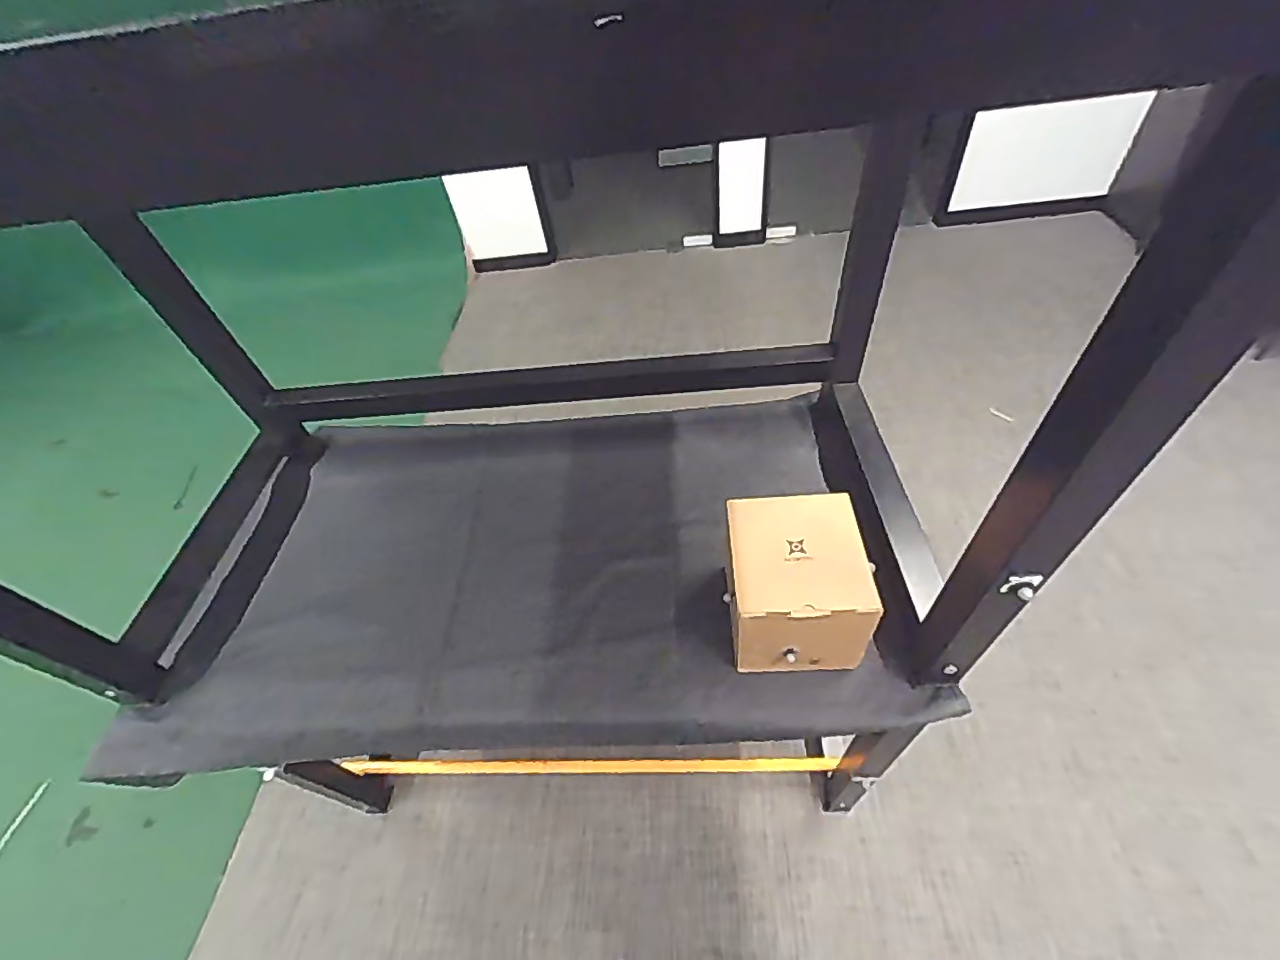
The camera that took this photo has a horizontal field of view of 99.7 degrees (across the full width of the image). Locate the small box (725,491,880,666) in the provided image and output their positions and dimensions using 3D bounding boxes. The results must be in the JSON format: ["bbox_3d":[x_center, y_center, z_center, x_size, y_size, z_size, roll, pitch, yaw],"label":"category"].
[{"bbox_3d":[0.205,0.136,0.737,0.168,0.176,0.179,-4,49,6],"label":"small box"}]
